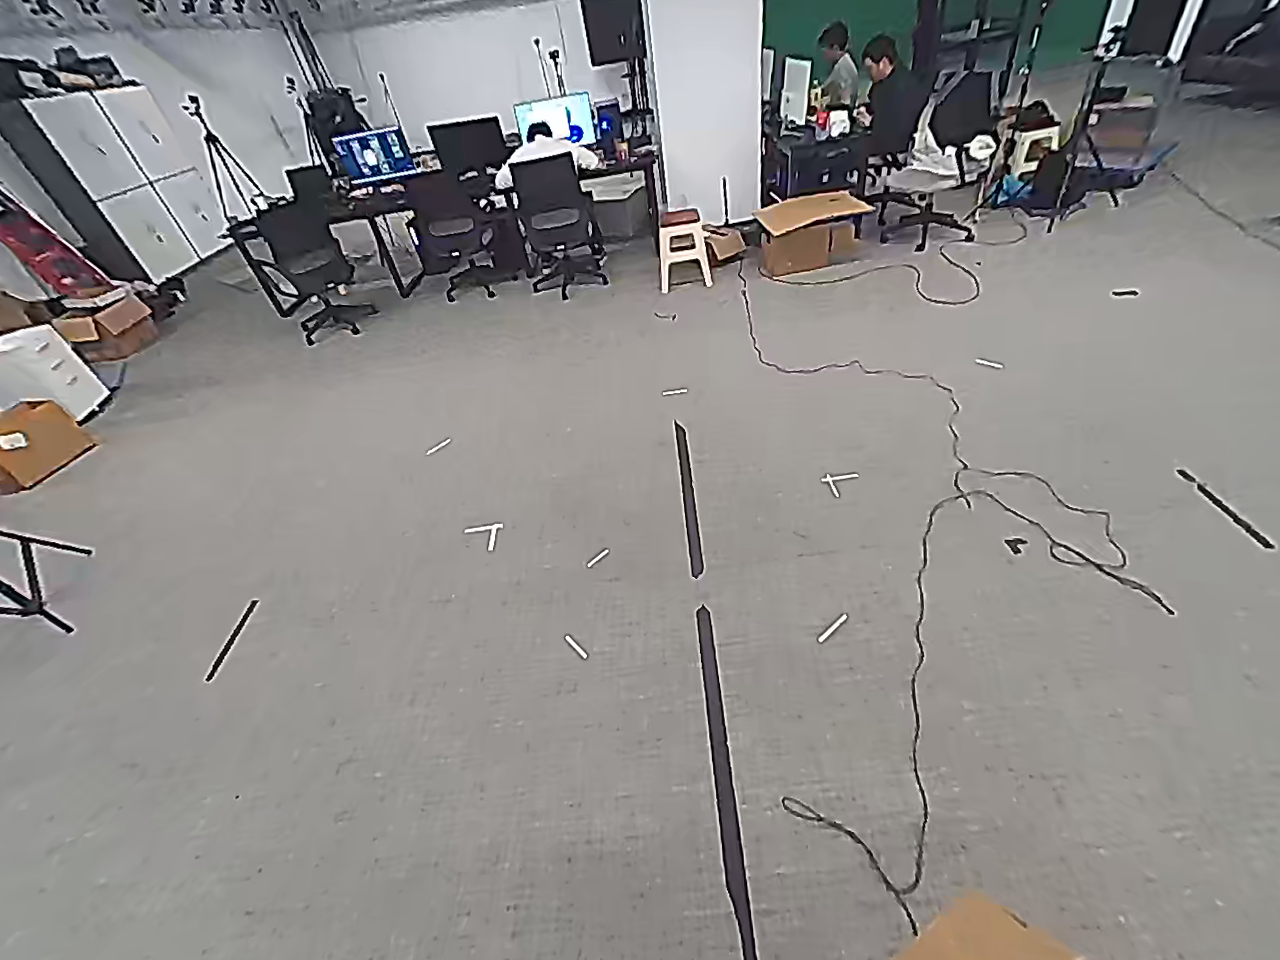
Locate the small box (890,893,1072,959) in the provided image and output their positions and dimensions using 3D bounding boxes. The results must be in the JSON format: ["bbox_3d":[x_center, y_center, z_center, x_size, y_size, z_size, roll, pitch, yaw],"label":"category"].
[{"bbox_3d":[0.296,0.480,0.405,0.179,0.168,0.176,-30,81,-11],"label":"small box"}]
